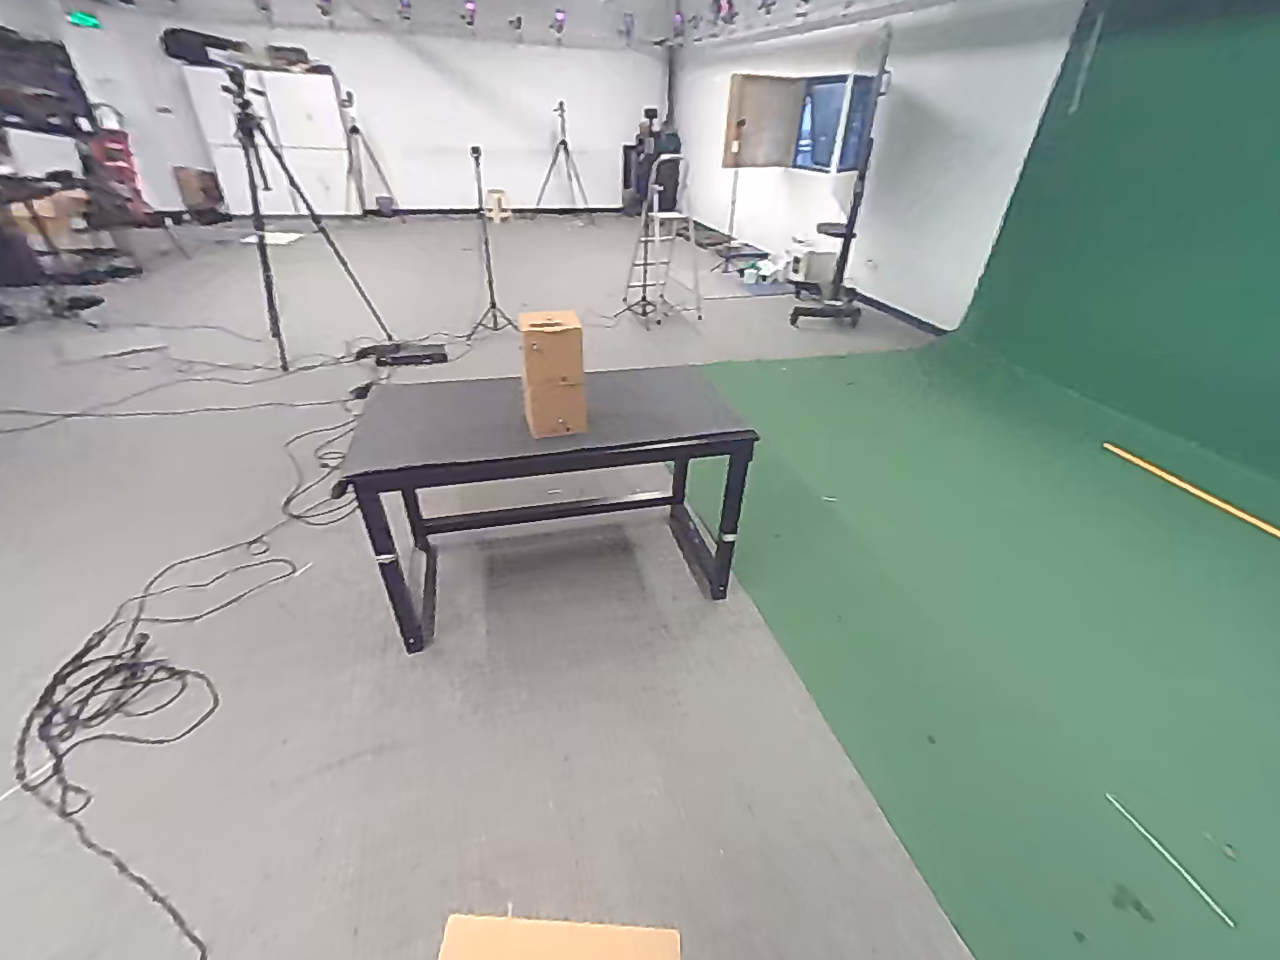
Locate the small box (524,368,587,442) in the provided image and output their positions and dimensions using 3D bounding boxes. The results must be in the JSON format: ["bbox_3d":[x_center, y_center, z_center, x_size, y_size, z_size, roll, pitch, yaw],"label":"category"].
[{"bbox_3d":[-0.263,-0.234,1.672,0.168,0.176,0.179,-9,34,-16],"label":"small box"}]
